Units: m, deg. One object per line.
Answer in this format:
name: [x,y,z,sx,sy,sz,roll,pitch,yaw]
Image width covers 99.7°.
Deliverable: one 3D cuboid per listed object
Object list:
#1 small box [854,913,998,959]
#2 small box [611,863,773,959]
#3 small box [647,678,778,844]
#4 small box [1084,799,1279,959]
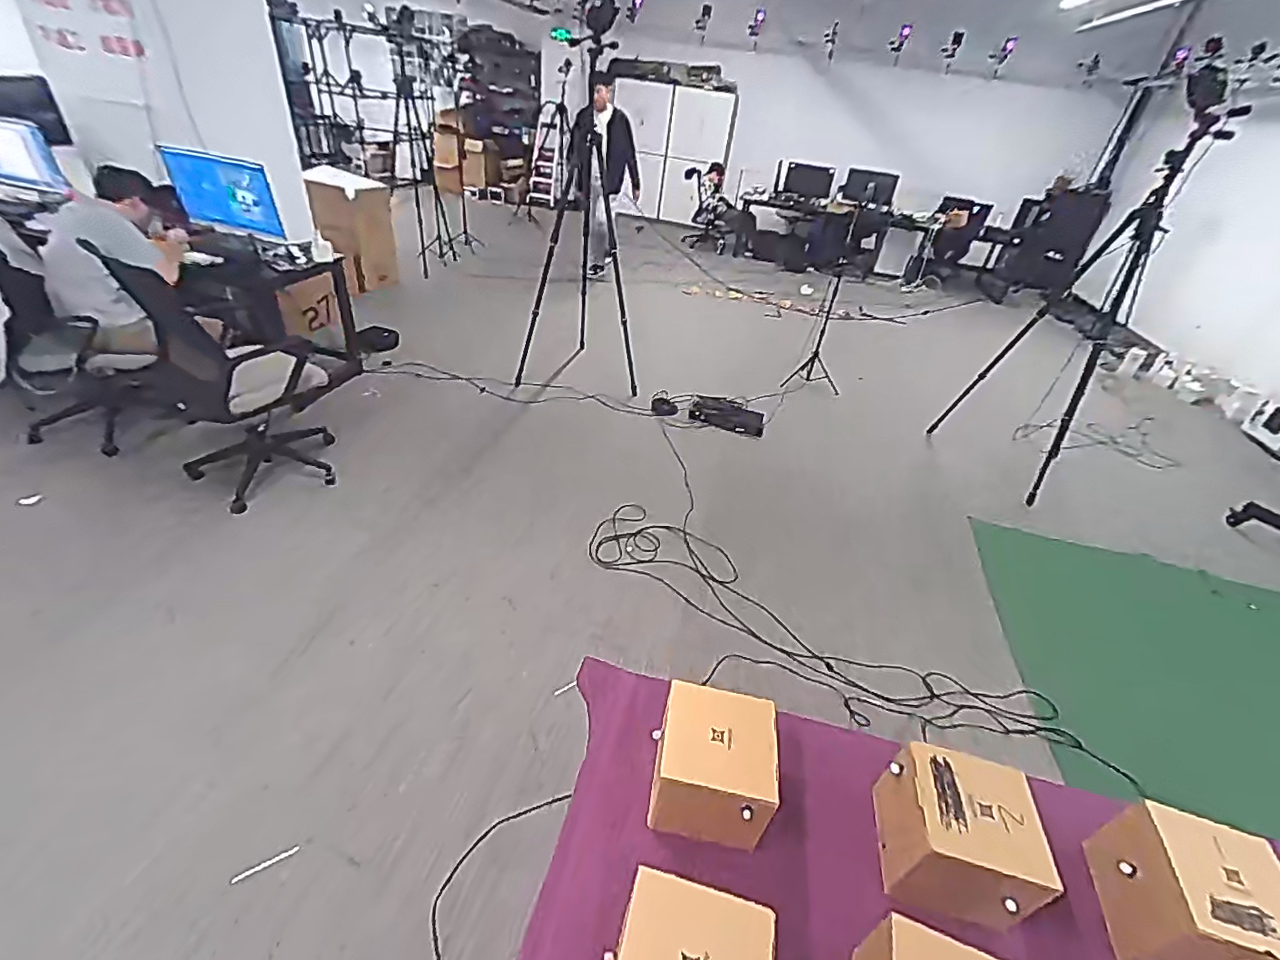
small box: [0.353,0.665,0.631,0.179,0.176,0.168,17,35,14]
small box: [0.049,0.608,0.645,0.179,0.176,0.168,14,35,8]
small box: [0.114,0.456,0.877,0.179,0.176,0.168,12,36,4]
small box: [0.803,0.617,0.785,0.168,0.176,0.179,17,35,12]
